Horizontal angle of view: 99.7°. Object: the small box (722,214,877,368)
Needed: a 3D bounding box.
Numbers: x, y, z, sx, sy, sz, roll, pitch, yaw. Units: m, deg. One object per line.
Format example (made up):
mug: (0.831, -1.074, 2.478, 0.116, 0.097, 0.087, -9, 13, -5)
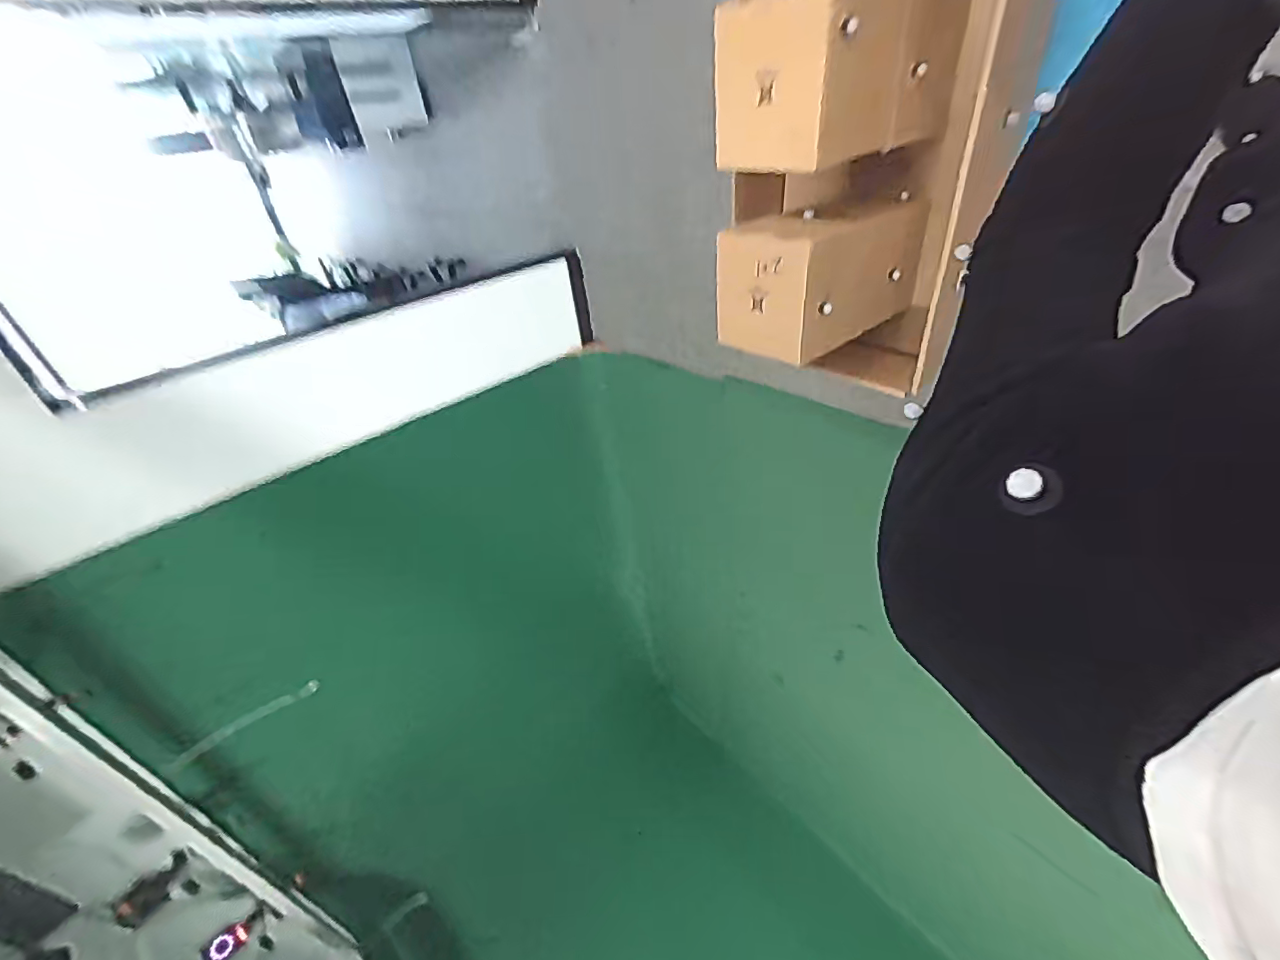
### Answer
small box: (0.246, -0.303, 0.848, 0.168, 0.176, 0.179, 31, 139, 41)
